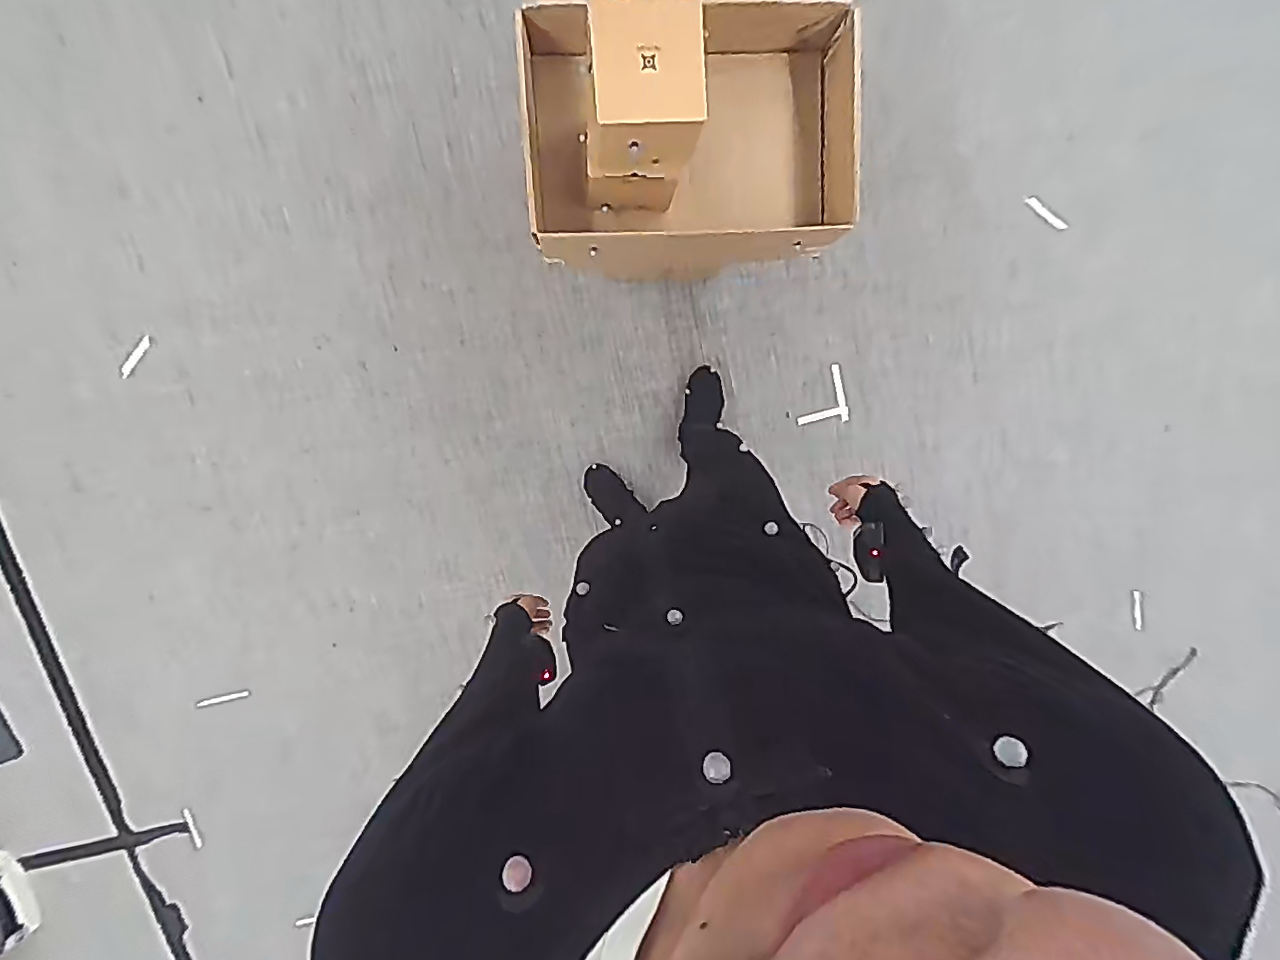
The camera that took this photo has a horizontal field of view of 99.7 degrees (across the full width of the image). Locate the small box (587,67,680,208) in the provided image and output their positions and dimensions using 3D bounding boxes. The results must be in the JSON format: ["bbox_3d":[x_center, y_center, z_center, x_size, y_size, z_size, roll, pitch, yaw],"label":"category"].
[{"bbox_3d":[-0.015,-0.632,1.020,0.168,0.176,0.179,-1,97,-5],"label":"small box"}]

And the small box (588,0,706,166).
[{"bbox_3d":[0.007,-0.621,0.858,0.168,0.176,0.179,-5,98,-4],"label":"small box"}]
